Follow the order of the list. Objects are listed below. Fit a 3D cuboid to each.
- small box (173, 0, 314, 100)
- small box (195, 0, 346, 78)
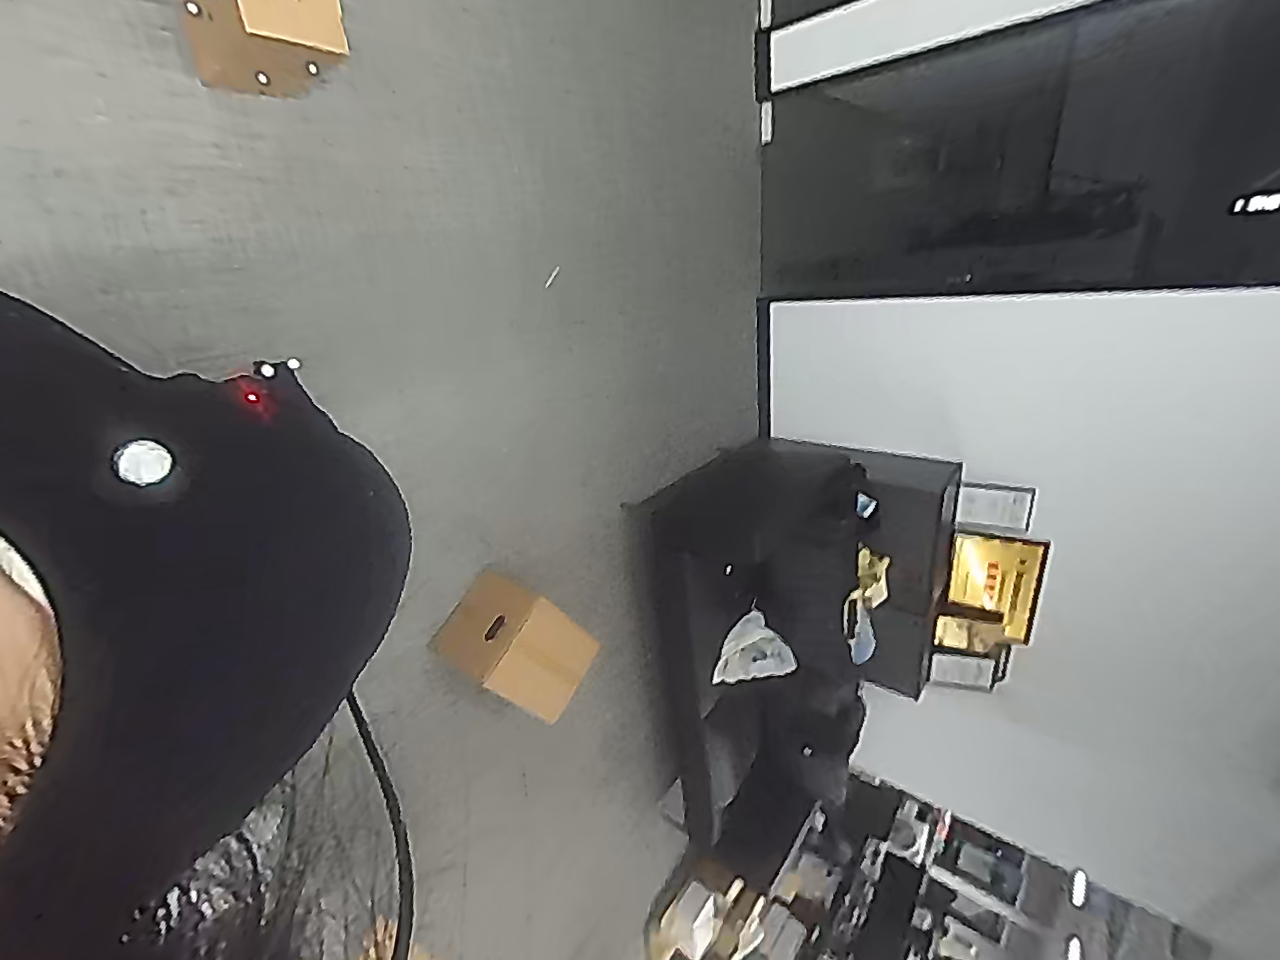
[{"bbox_3d":[-0.799,-0.898,1.085,0.168,0.176,0.179,-28,121,-45],"label":"small box"},{"bbox_3d":[-0.678,-0.861,0.982,0.179,0.176,0.168,-27,120,-44],"label":"small box"}]
